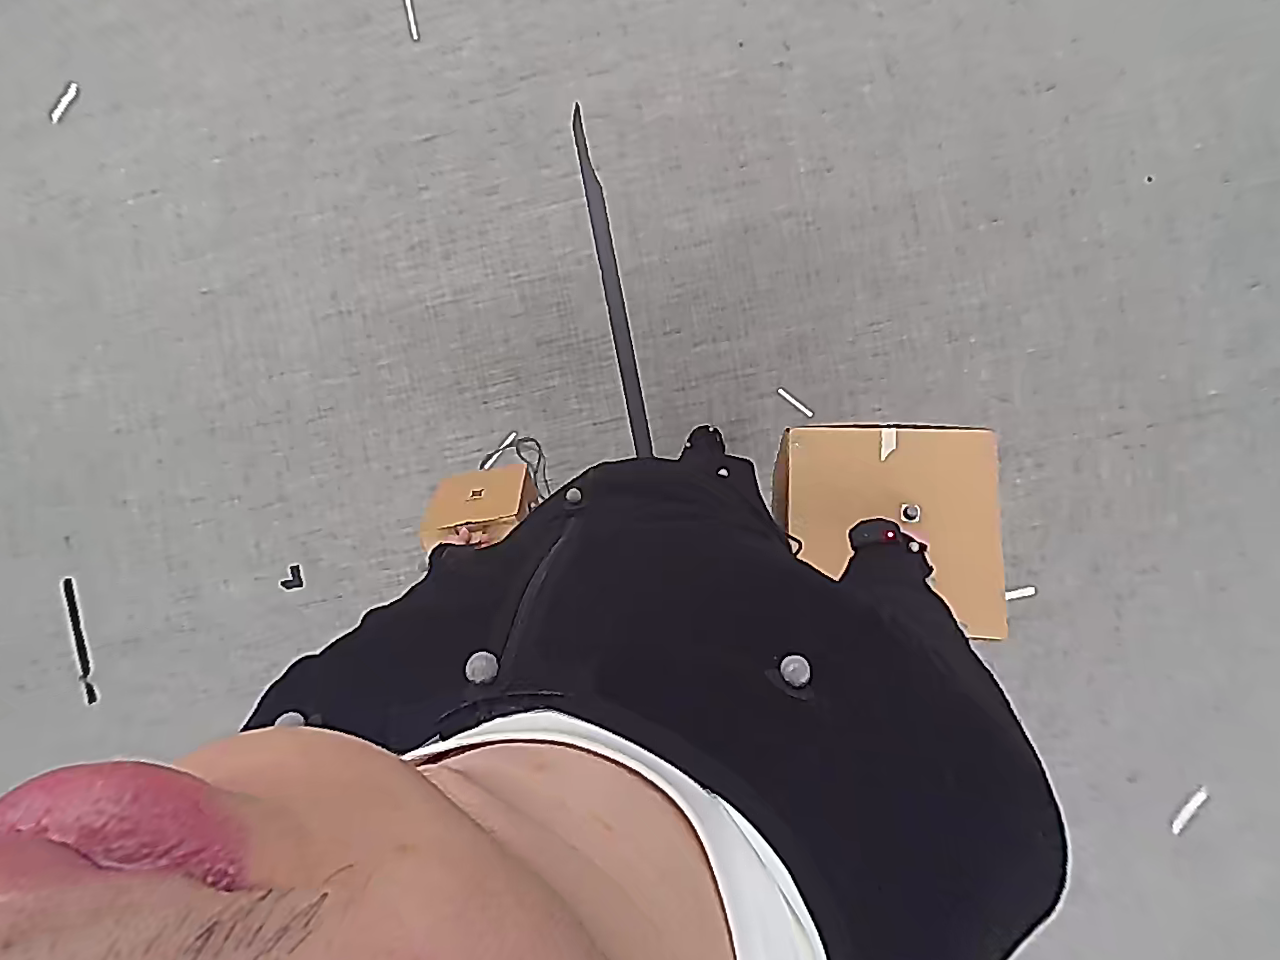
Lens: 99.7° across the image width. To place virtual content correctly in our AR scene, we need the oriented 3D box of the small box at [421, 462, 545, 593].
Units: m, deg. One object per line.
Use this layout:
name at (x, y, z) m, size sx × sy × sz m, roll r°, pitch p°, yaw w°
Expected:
small box at (-0.278, 0.093, 1.000) m, size 0.168 × 0.179 × 0.176 m, roll -9°, pitch 123°, yaw 0°
